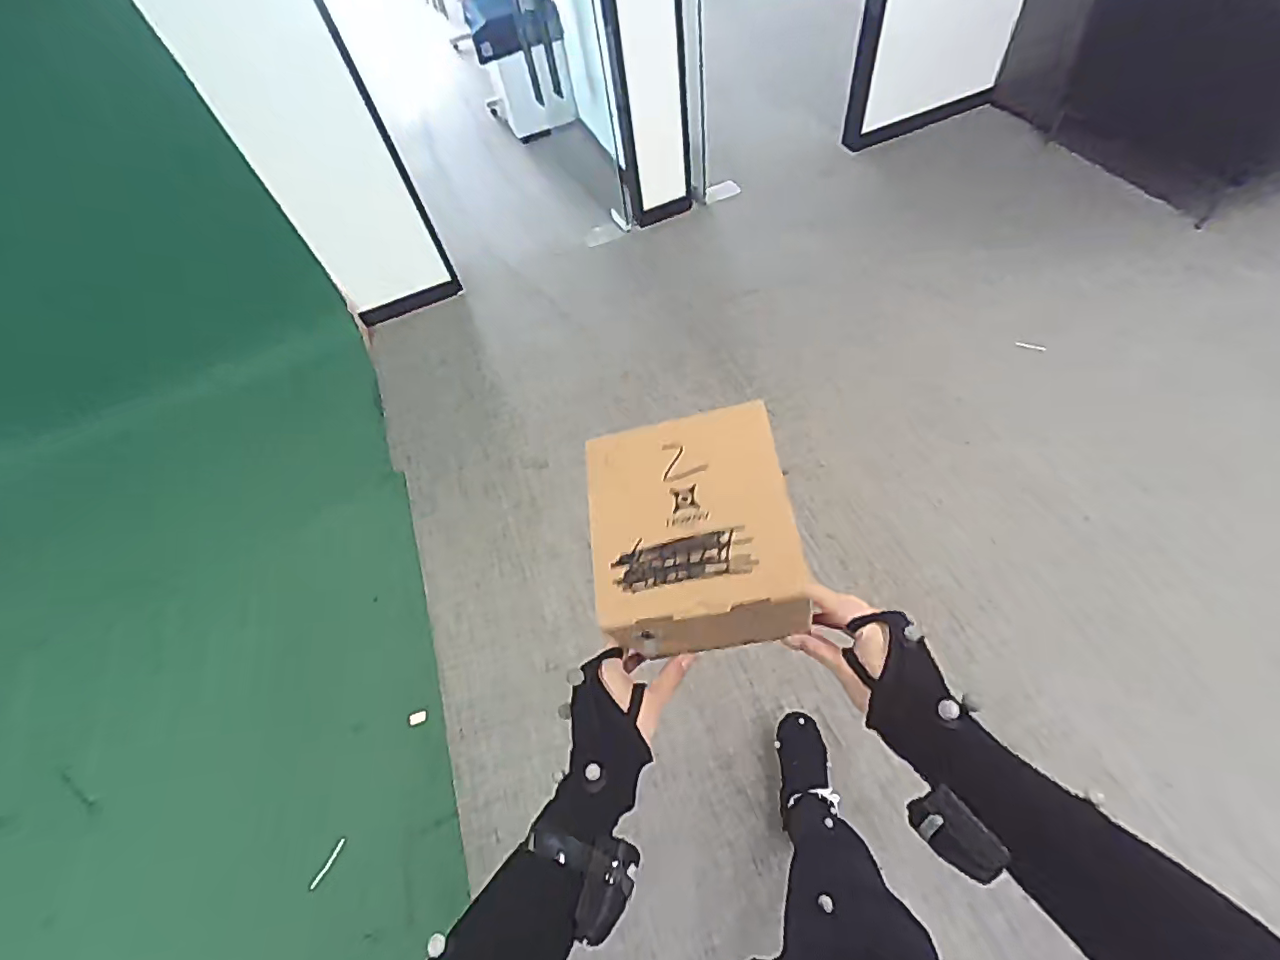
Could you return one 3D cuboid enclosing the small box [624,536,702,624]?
[{"bbox_3d":[0.072,0.297,1.582,0.179,0.176,0.168,-22,56,-6],"label":"small box"}]
